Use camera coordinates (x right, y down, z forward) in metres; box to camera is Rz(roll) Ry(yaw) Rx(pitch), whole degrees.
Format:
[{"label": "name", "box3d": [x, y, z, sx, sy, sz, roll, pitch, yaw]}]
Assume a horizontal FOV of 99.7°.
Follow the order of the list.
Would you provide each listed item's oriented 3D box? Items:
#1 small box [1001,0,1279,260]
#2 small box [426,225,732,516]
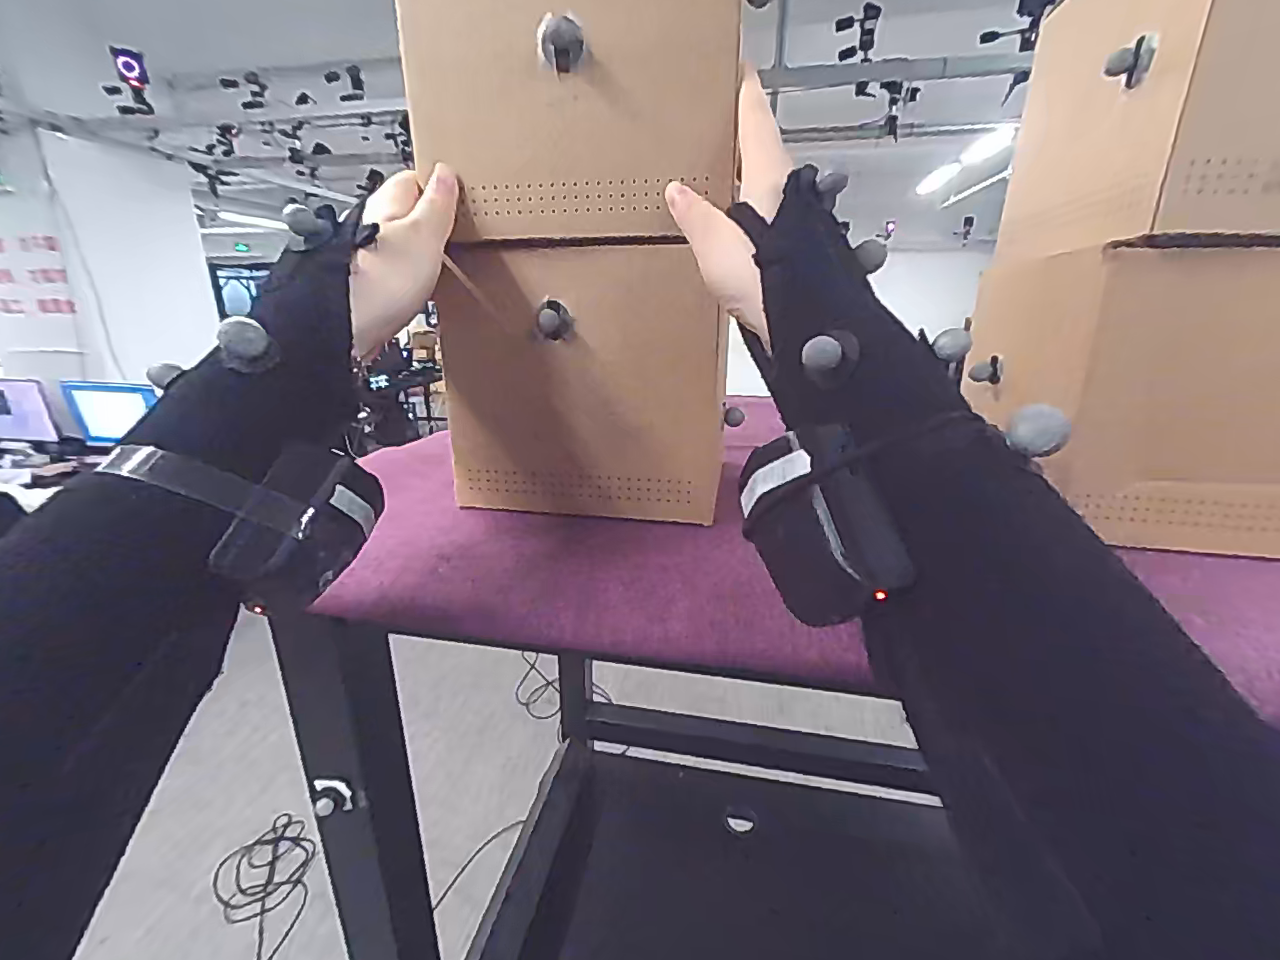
[{"label": "small box", "box3d": [0.340, -0.216, 0.301, 0.168, 0.176, 0.179, 5, 16, 8]}, {"label": "small box", "box3d": [-0.026, -0.080, 0.396, 0.179, 0.176, 0.168, 4, 18, 10]}]
